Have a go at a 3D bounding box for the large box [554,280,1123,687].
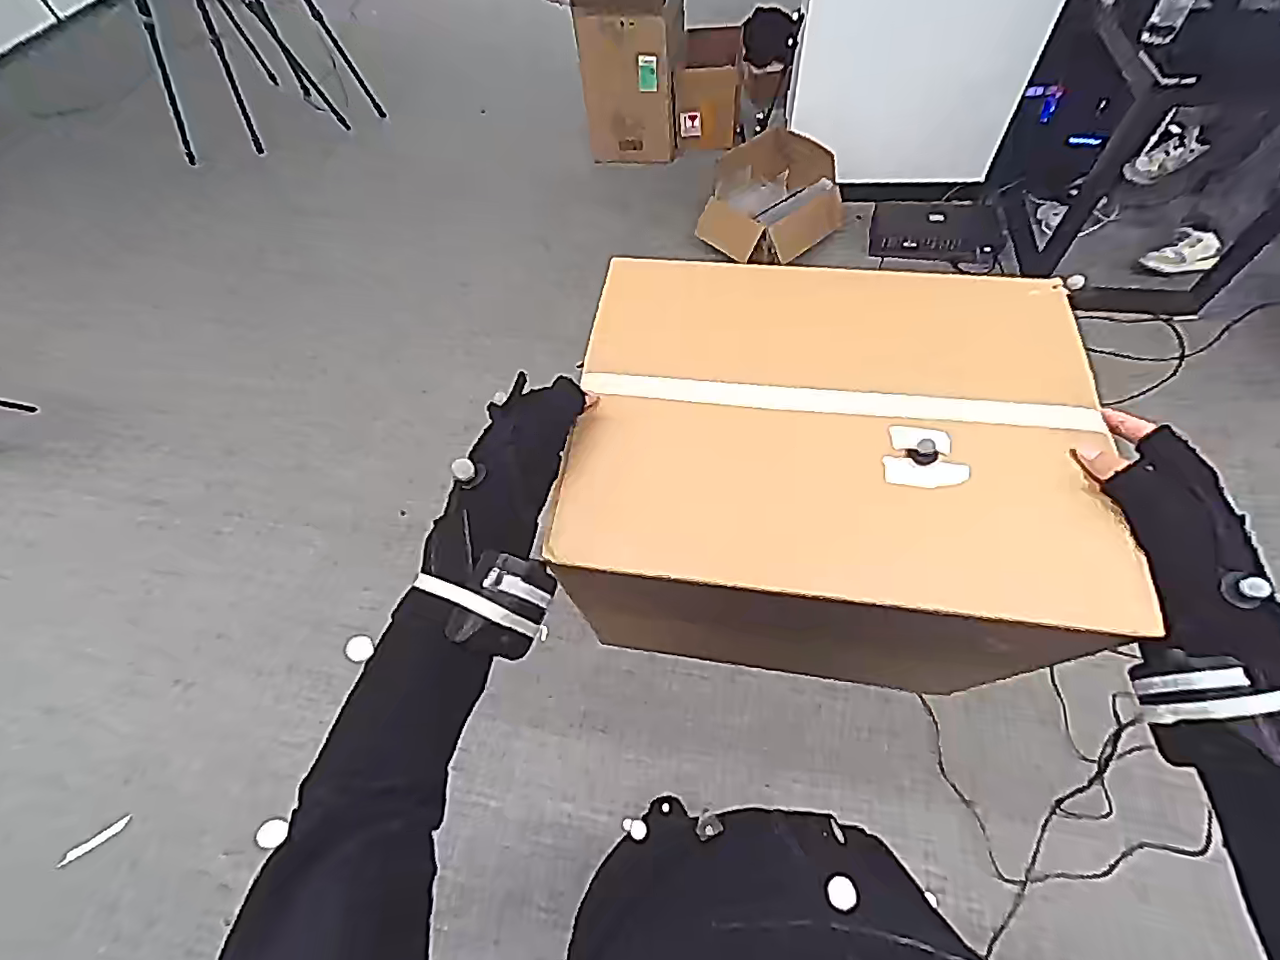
[{"bbox_3d":[0.155,0.018,0.582,0.408,0.320,0.320,6,63,7],"label":"large box"}]
